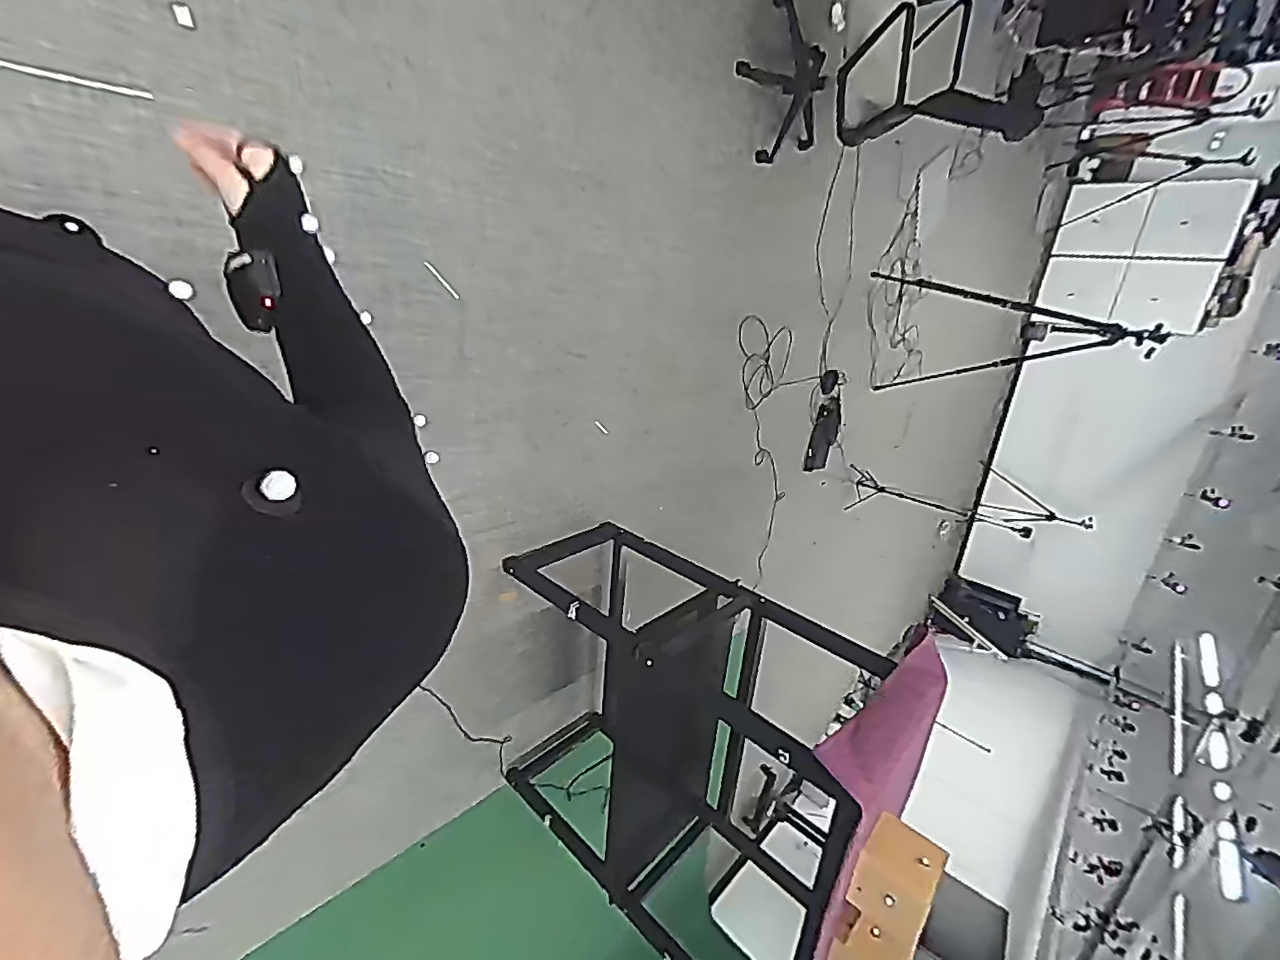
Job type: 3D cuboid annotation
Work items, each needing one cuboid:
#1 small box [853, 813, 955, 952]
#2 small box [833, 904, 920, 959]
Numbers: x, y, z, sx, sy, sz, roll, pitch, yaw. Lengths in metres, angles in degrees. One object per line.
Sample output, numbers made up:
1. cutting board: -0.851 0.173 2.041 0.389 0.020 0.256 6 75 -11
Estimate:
1. small box: 0.649 0.985 1.340 0.179 0.176 0.168 -17 119 -46
2. small box: 0.625 1.277 1.439 0.168 0.176 0.179 -16 118 -45
